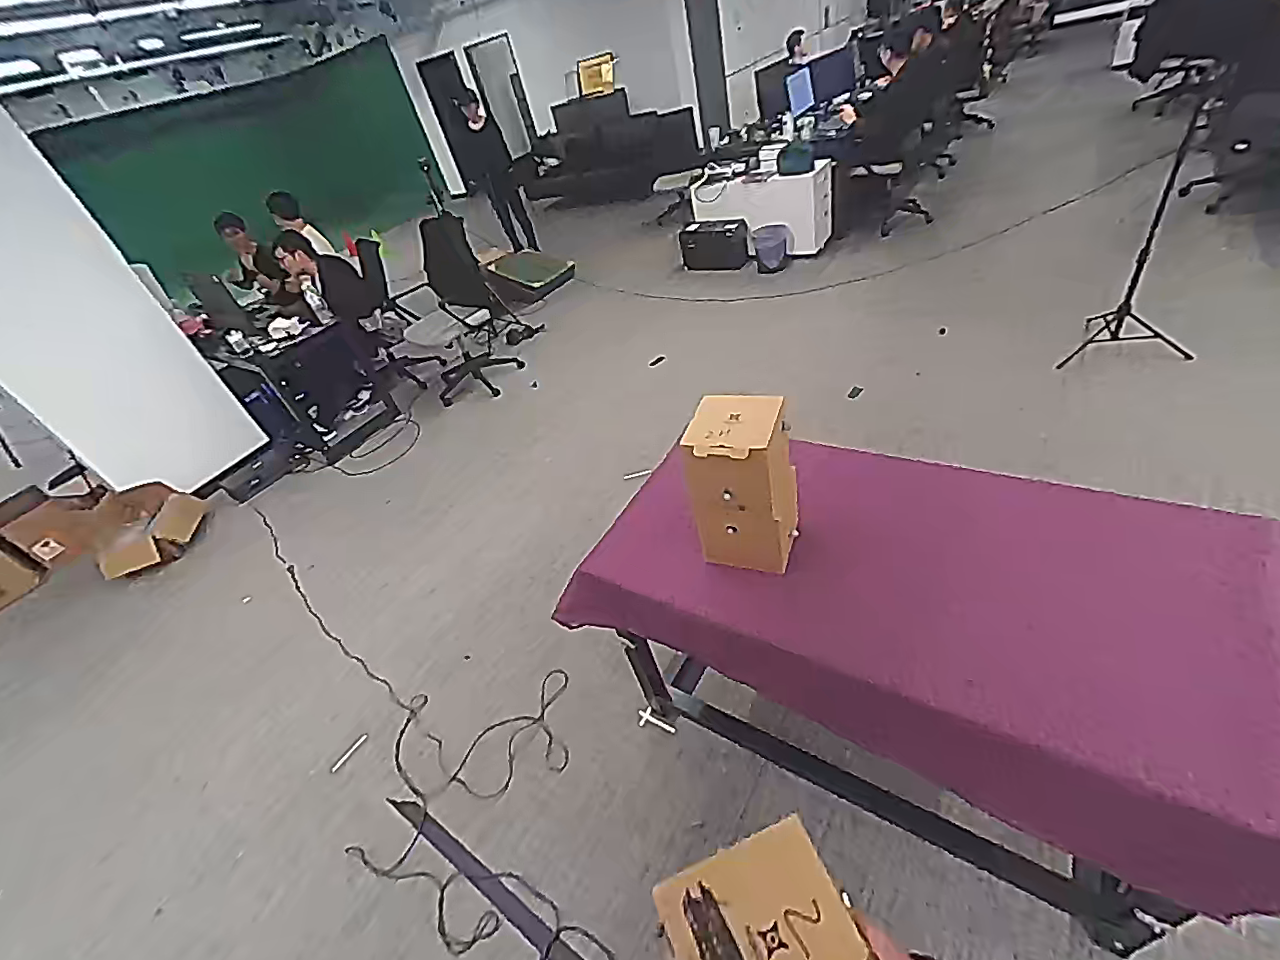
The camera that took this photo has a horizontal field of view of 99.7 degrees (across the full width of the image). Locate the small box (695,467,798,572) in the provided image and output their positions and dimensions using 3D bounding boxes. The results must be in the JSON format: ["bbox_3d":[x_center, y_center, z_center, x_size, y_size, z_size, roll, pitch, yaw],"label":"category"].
[{"bbox_3d":[0.237,0.080,1.171,0.179,0.176,0.168,6,44,25],"label":"small box"}]

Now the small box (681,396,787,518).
[{"bbox_3d":[0.195,-0.049,1.076,0.168,0.176,0.179,5,44,25],"label":"small box"}]
